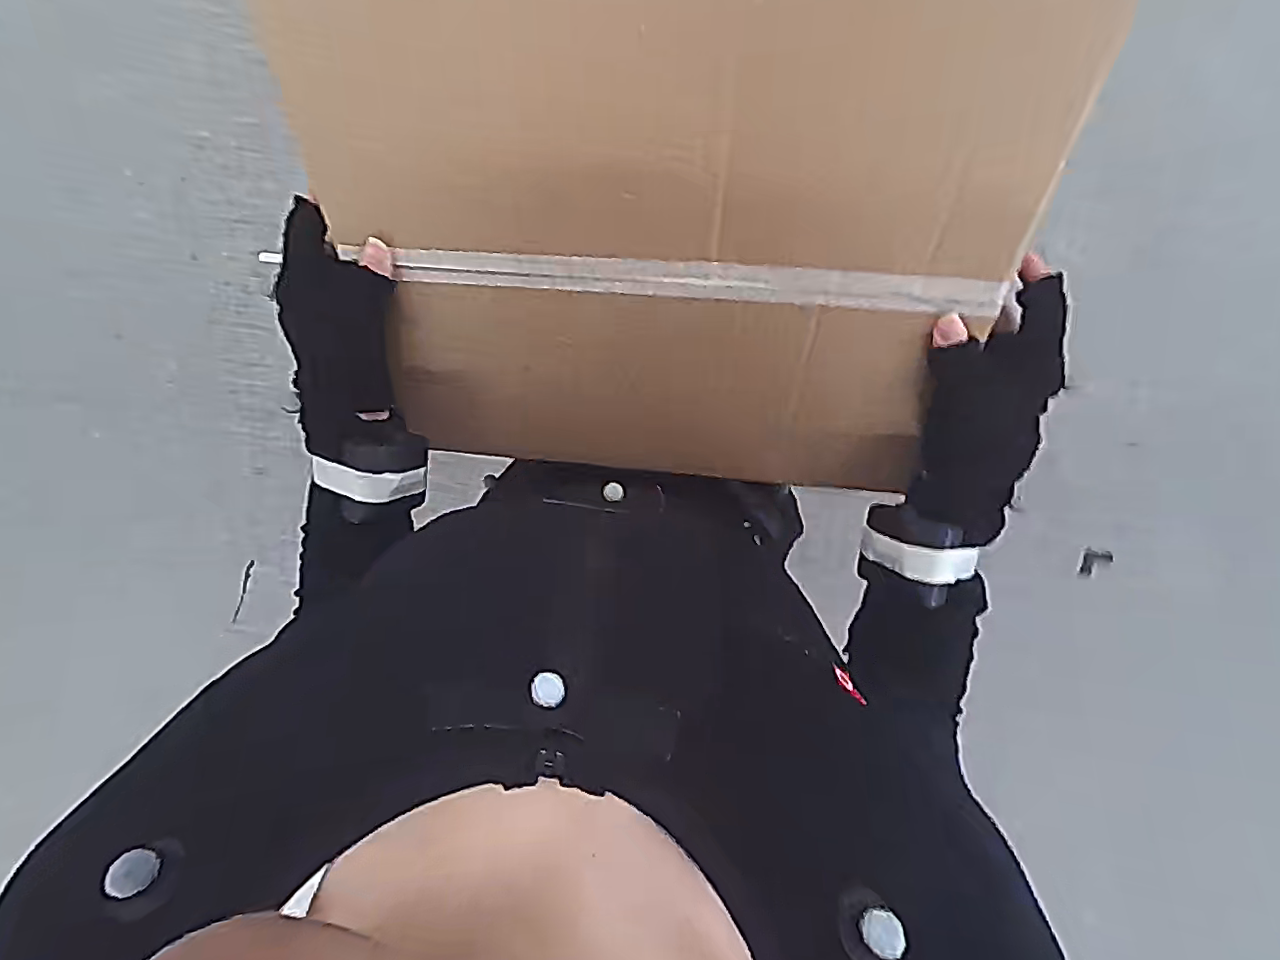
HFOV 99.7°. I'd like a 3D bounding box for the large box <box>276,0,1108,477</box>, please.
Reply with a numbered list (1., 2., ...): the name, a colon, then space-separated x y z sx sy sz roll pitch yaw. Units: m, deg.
1. large box: 0.027 -0.230 0.451 0.408 0.320 0.320 6 133 5
